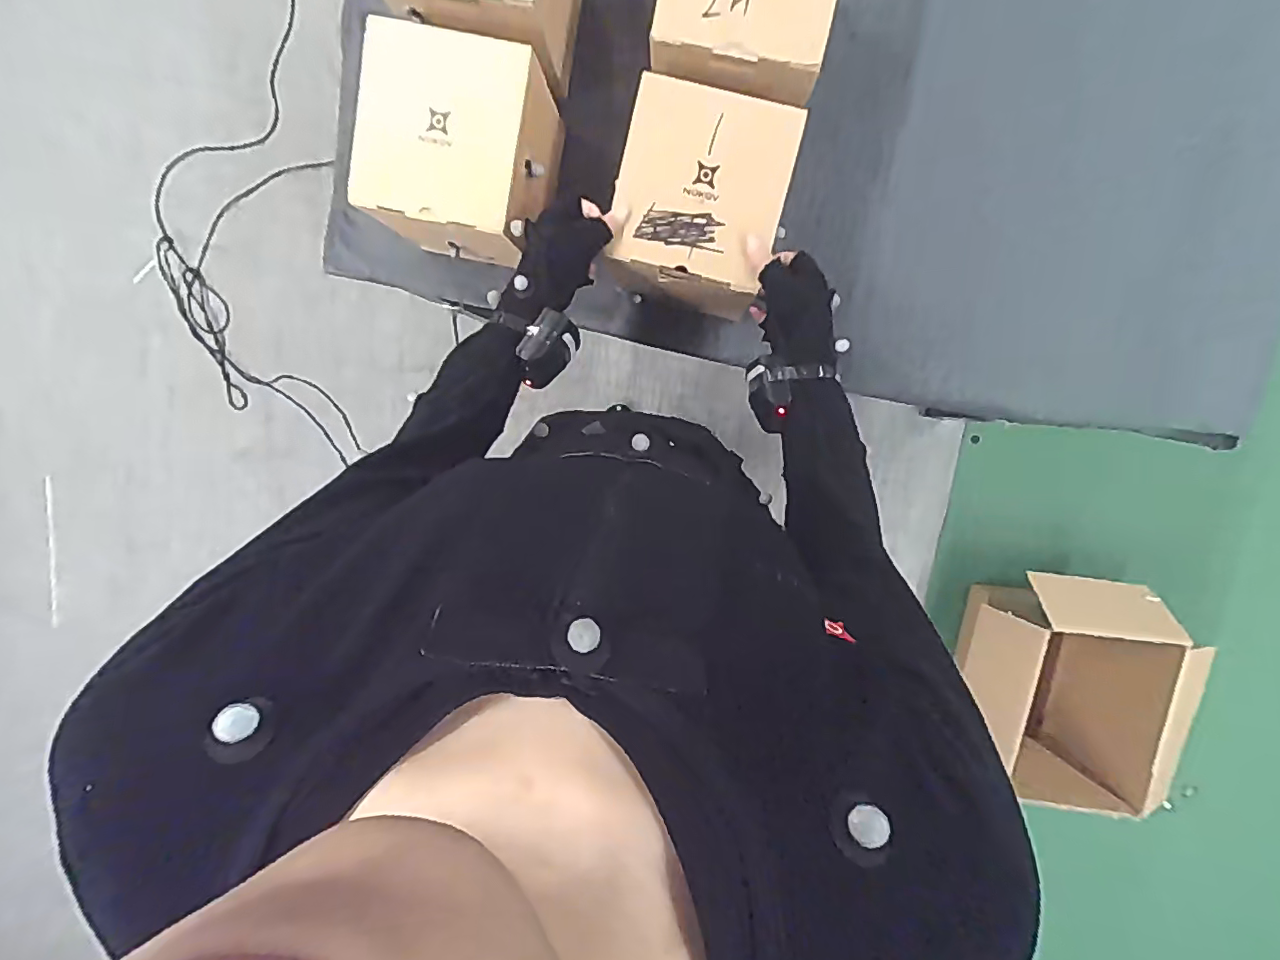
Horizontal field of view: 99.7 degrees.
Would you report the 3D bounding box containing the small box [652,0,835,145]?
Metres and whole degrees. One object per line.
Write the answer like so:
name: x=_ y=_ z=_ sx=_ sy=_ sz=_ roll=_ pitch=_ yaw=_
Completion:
small box: x=0.110 y=-0.500 z=0.576 sx=0.168 sy=0.176 sz=0.179 roll=12 pitch=99 yaw=1
